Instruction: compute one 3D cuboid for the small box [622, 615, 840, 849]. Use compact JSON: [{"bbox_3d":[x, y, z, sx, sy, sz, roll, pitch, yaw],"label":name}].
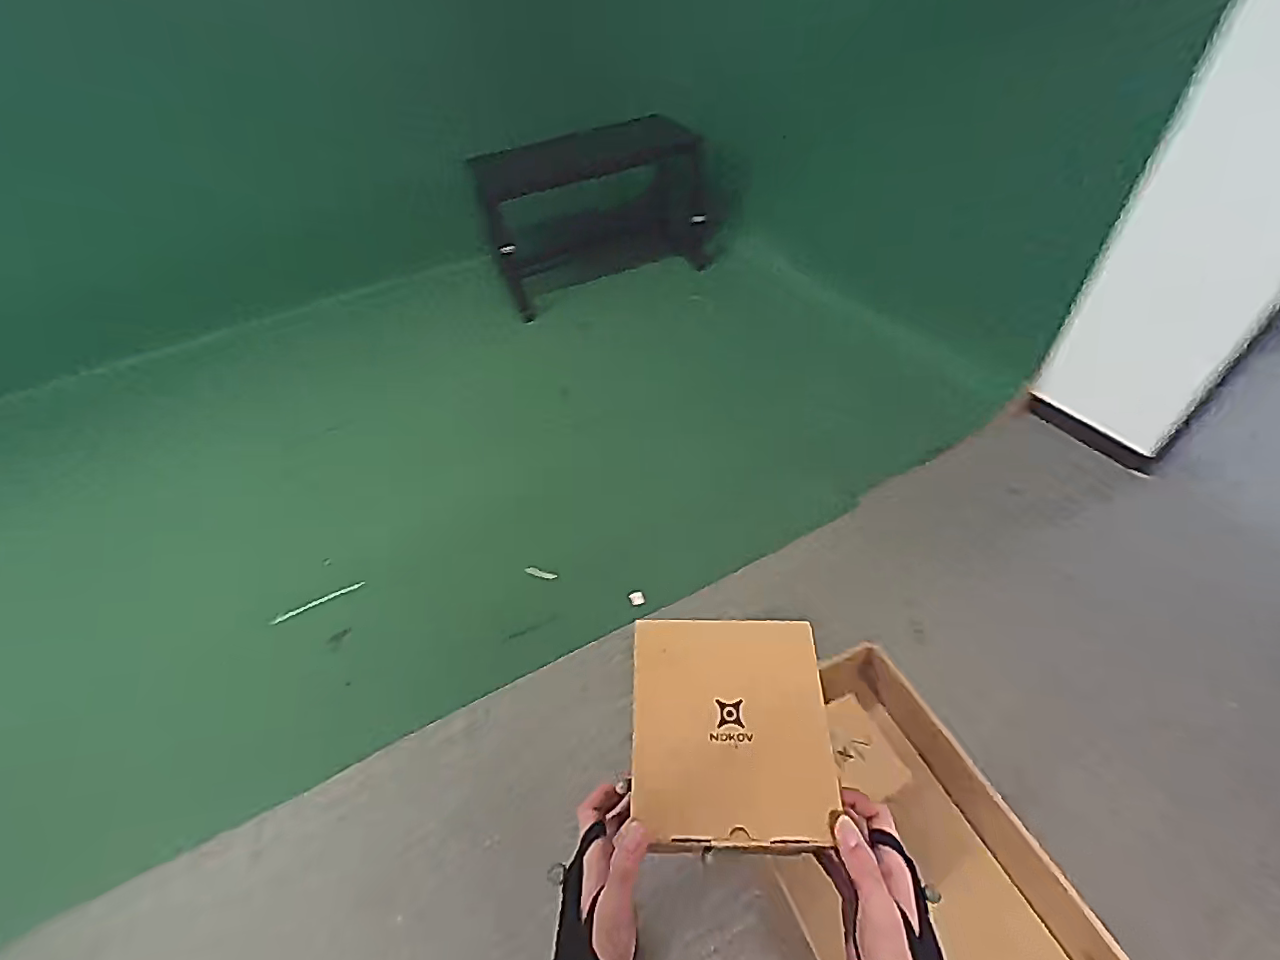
[{"bbox_3d":[0.067,0.243,0.516,0.168,0.176,0.179,0,55,-1],"label":"small box"}]
